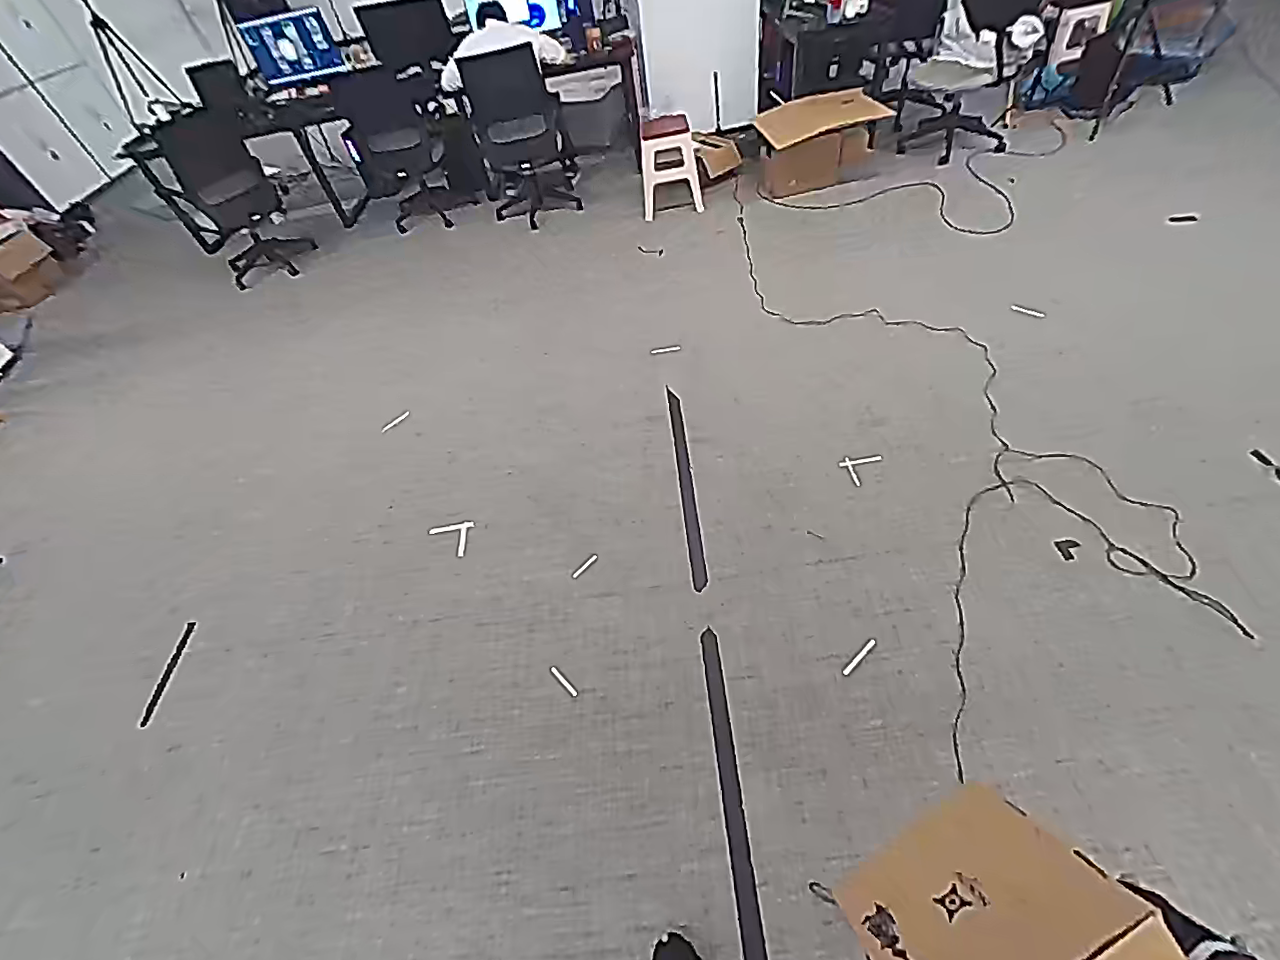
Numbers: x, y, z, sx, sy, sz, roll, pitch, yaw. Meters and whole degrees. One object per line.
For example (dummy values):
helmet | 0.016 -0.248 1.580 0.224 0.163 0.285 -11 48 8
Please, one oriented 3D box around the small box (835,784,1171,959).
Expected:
small box | 0.302 0.403 0.435 0.179 0.168 0.176 -32 90 -5
